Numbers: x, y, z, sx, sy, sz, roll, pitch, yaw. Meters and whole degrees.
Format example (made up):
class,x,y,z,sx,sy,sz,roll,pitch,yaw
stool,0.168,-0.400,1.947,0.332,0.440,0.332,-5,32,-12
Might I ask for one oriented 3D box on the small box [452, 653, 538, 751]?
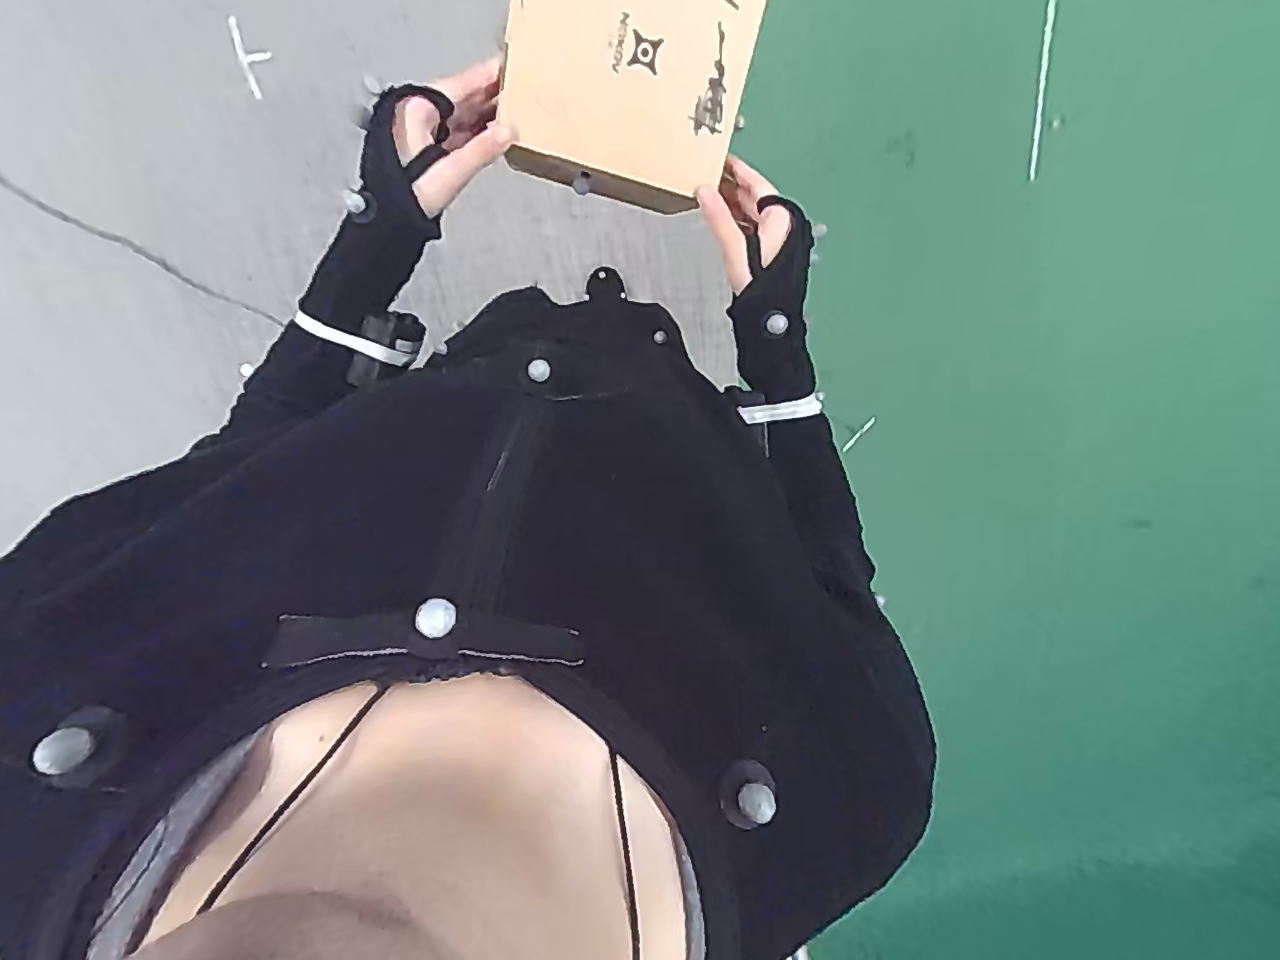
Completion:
class,x,y,z,sx,sy,sz,roll,pitch,yaw
small box,-0.374,0.579,1.431,0.179,0.176,0.168,-8,111,0

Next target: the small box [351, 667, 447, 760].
class,x,y,z,sx,sy,sz,roll,pitch,yaw
small box,-0.626,0.614,1.423,0.168,0.176,0.179,-6,111,-2
